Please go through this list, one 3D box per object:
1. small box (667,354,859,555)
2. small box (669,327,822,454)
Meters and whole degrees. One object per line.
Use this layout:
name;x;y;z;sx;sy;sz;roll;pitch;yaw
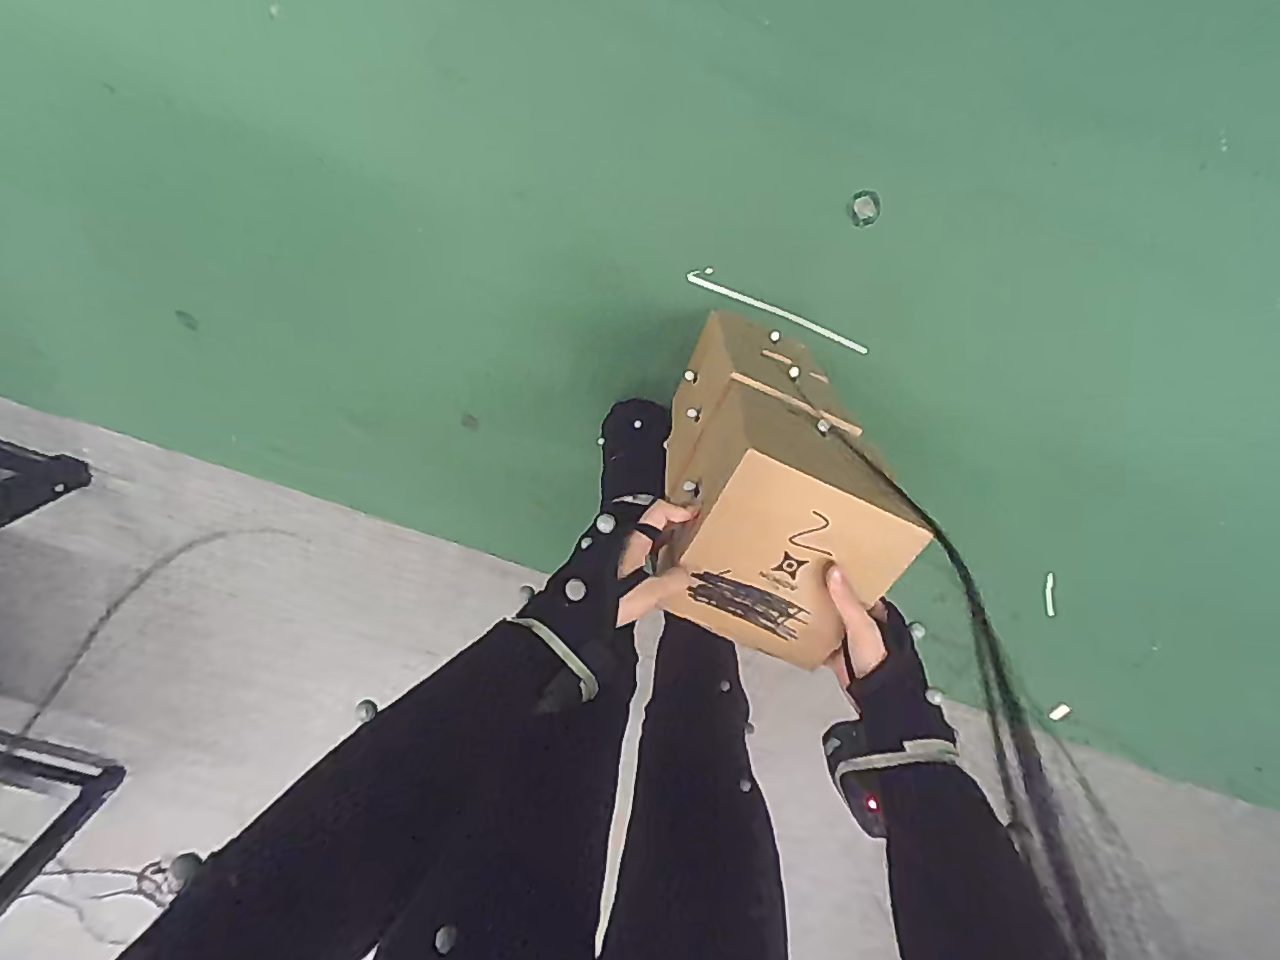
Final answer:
small box;0.143;-0.041;0.702;0.168;0.176;0.179;23;117;-8
small box;0.156;-0.116;0.849;0.168;0.176;0.179;21;116;-7
